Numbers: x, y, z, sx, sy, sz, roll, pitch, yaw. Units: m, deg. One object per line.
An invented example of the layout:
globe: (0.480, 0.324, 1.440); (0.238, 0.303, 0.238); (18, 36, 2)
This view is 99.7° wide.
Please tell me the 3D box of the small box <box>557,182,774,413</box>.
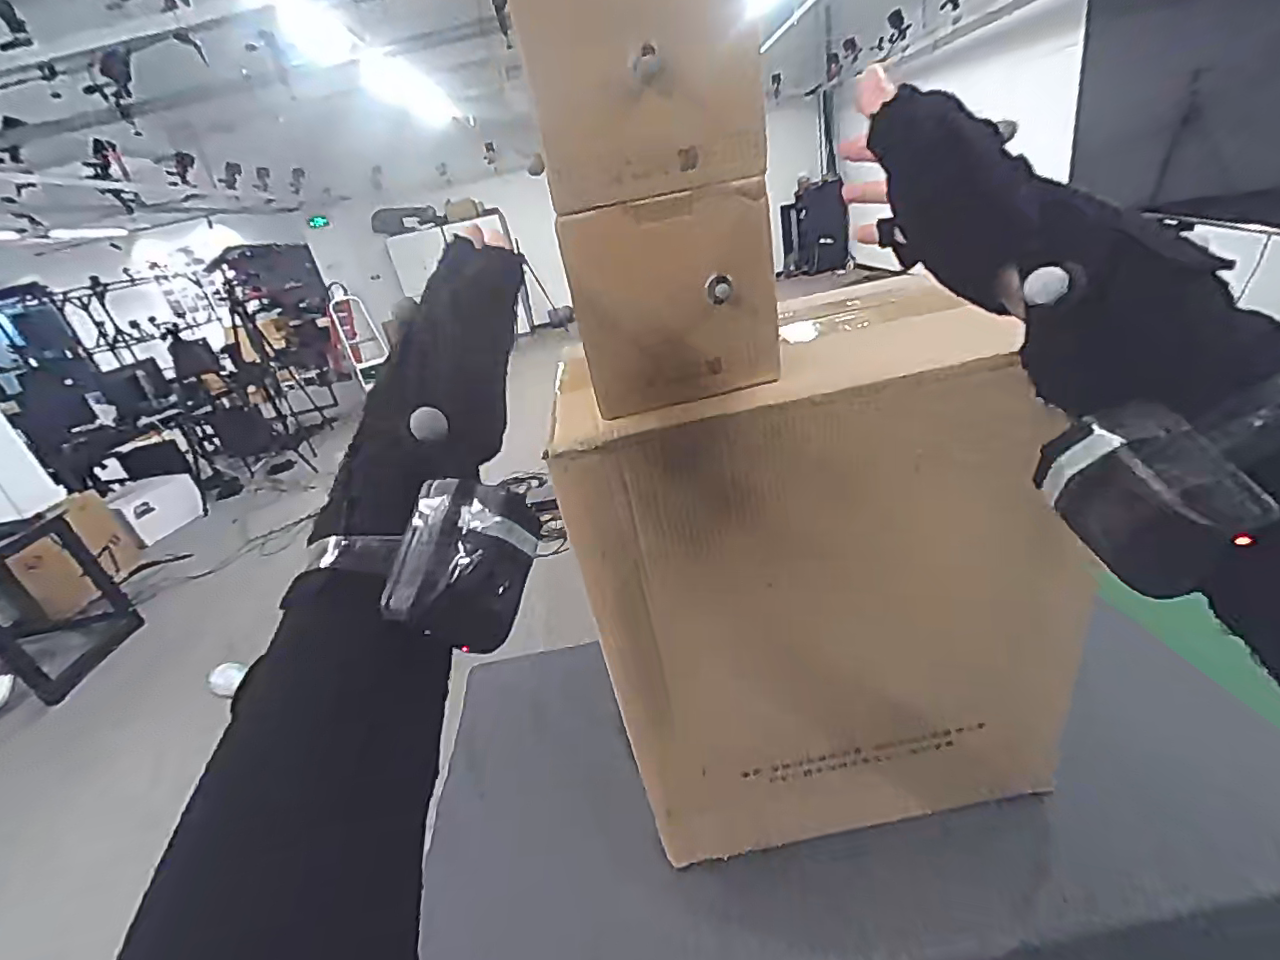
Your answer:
small box: (0.022, -0.173, 0.518); (0.168, 0.176, 0.179); (-12, 27, -2)

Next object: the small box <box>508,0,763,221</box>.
small box: (-0.004, -0.316, 0.444); (0.168, 0.176, 0.179); (-12, 29, -2)
